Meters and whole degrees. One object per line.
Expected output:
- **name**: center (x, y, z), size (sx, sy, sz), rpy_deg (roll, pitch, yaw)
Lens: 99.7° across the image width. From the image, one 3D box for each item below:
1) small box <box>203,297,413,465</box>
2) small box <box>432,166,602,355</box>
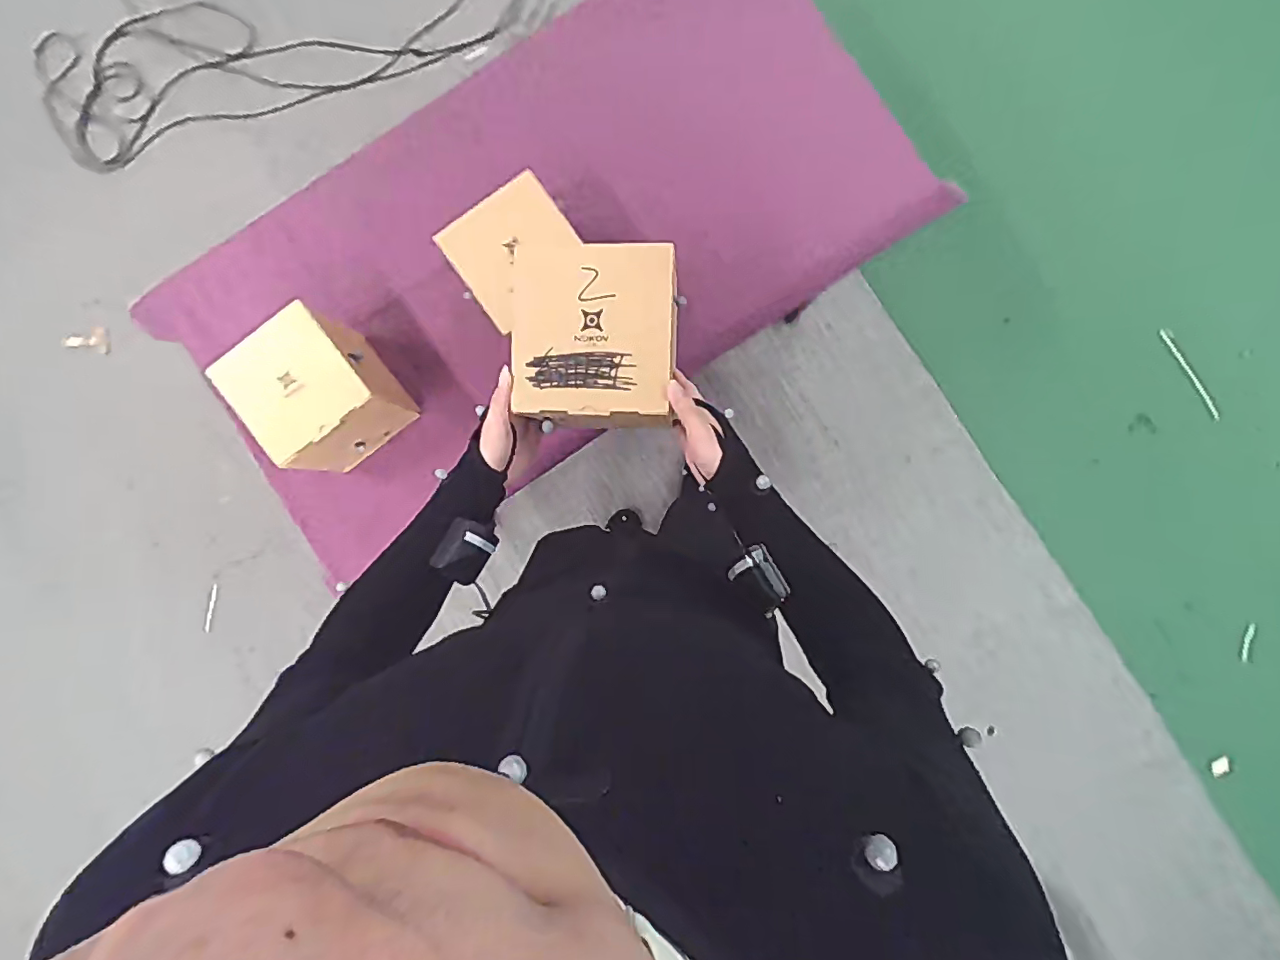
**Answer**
- **small box**: center (-0.488, -0.136, 0.824), size (0.168, 0.176, 0.179), rpy_deg (-39, 90, 0)
- **small box**: center (-0.174, -0.318, 0.822), size (0.168, 0.176, 0.179), rpy_deg (-36, 89, 0)
